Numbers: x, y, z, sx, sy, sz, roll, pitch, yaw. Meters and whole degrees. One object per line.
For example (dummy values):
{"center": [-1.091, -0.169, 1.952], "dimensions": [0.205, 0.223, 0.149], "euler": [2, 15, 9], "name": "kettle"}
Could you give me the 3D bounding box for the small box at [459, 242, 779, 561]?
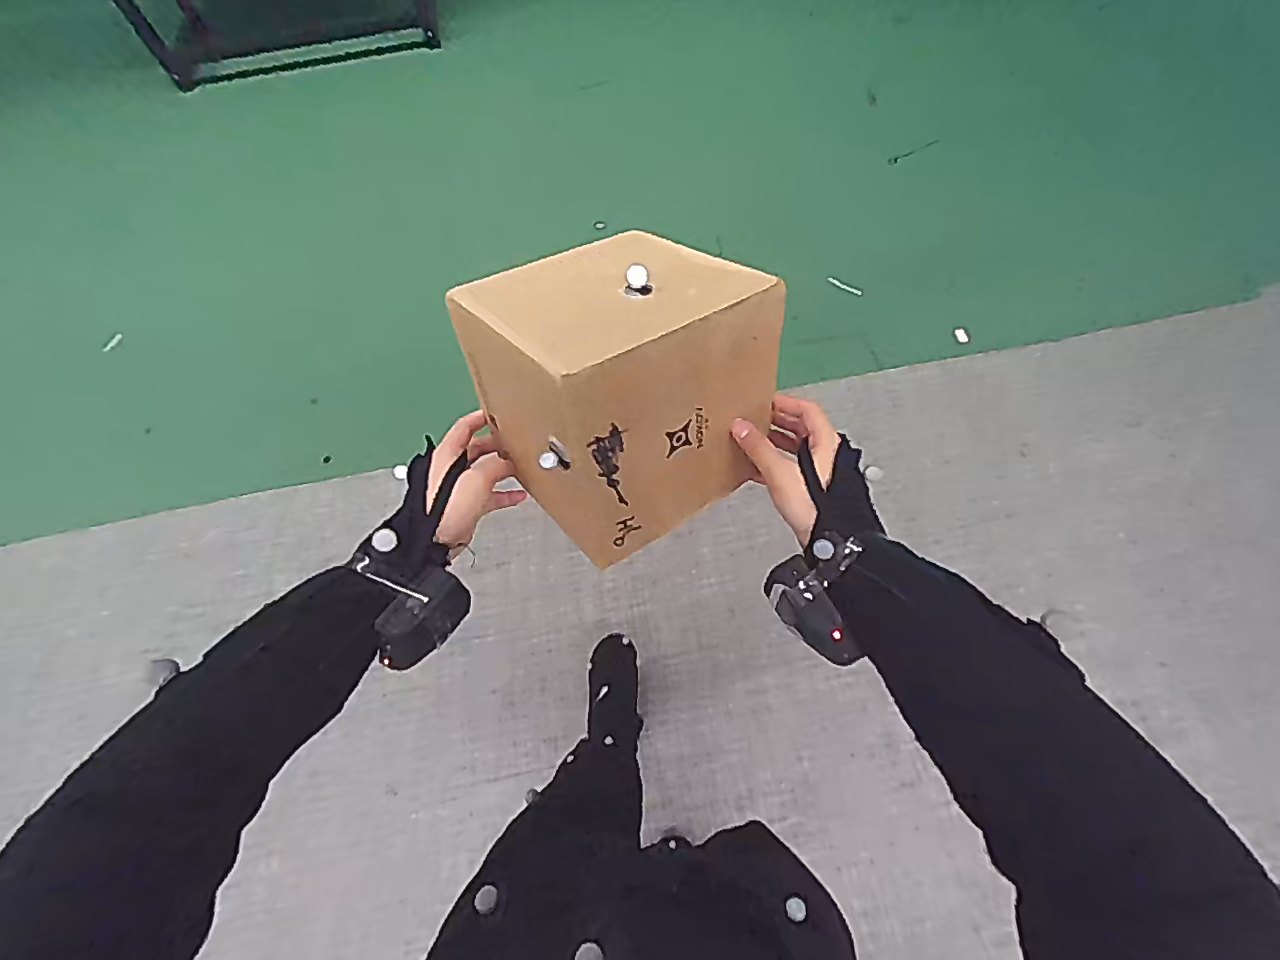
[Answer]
{"center": [-0.015, -0.076, 0.439], "dimensions": [0.179, 0.168, 0.176], "euler": [-31, 47, -25], "name": "small box"}
